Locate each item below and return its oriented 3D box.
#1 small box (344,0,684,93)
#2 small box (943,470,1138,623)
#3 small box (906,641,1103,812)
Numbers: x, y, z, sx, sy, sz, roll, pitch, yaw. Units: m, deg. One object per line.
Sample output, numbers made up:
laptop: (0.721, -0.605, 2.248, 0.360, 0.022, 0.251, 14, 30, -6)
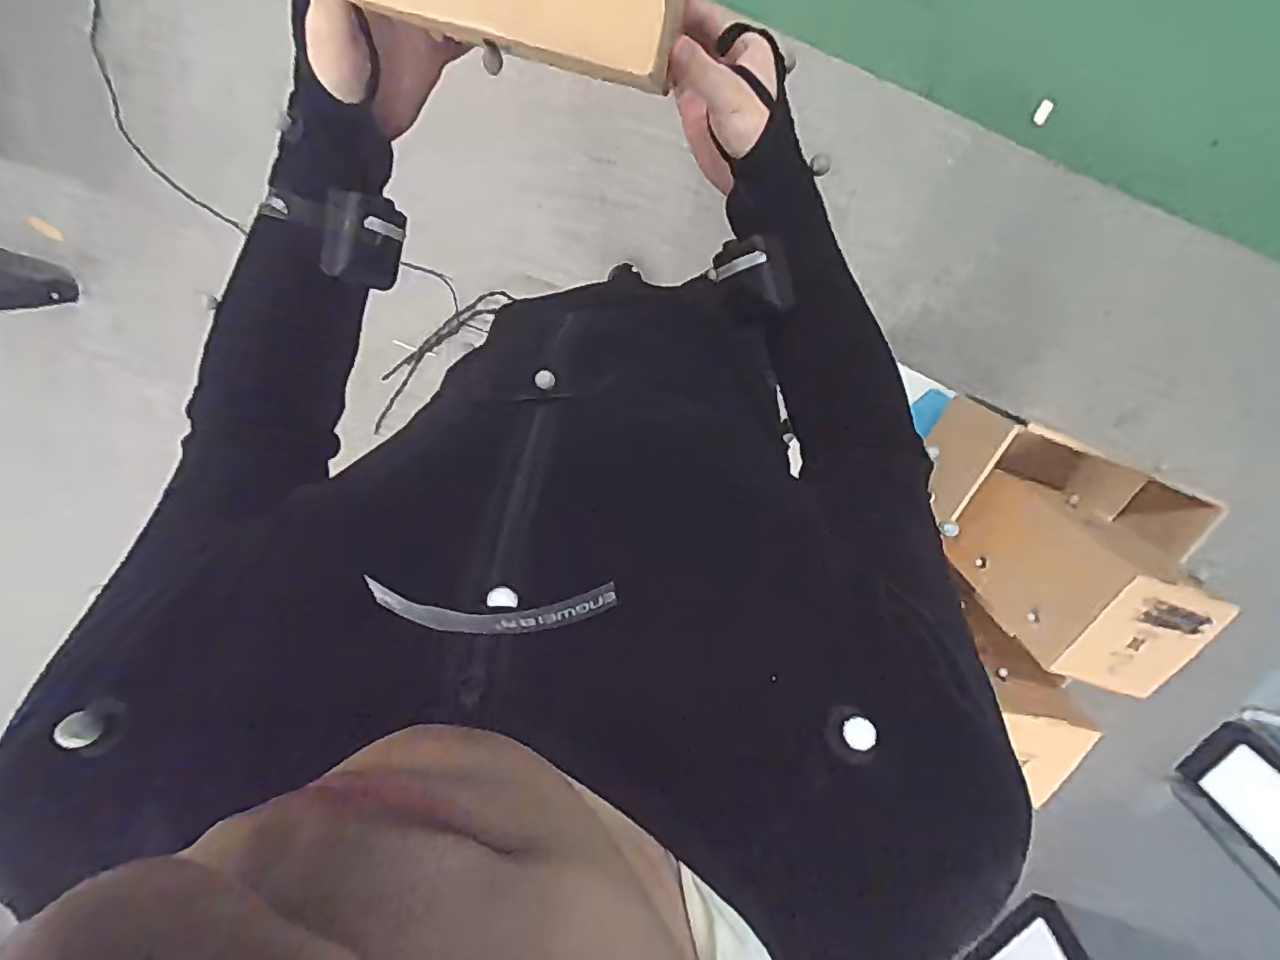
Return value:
small box: (-0.057, -0.337, 0.304, 0.179, 0.176, 0.168, 14, 124, -2)
small box: (0.663, 0.106, 0.924, 0.168, 0.176, 0.179, 18, 116, -8)
small box: (0.568, 0.390, 0.874, 0.168, 0.176, 0.179, 15, 114, -6)
